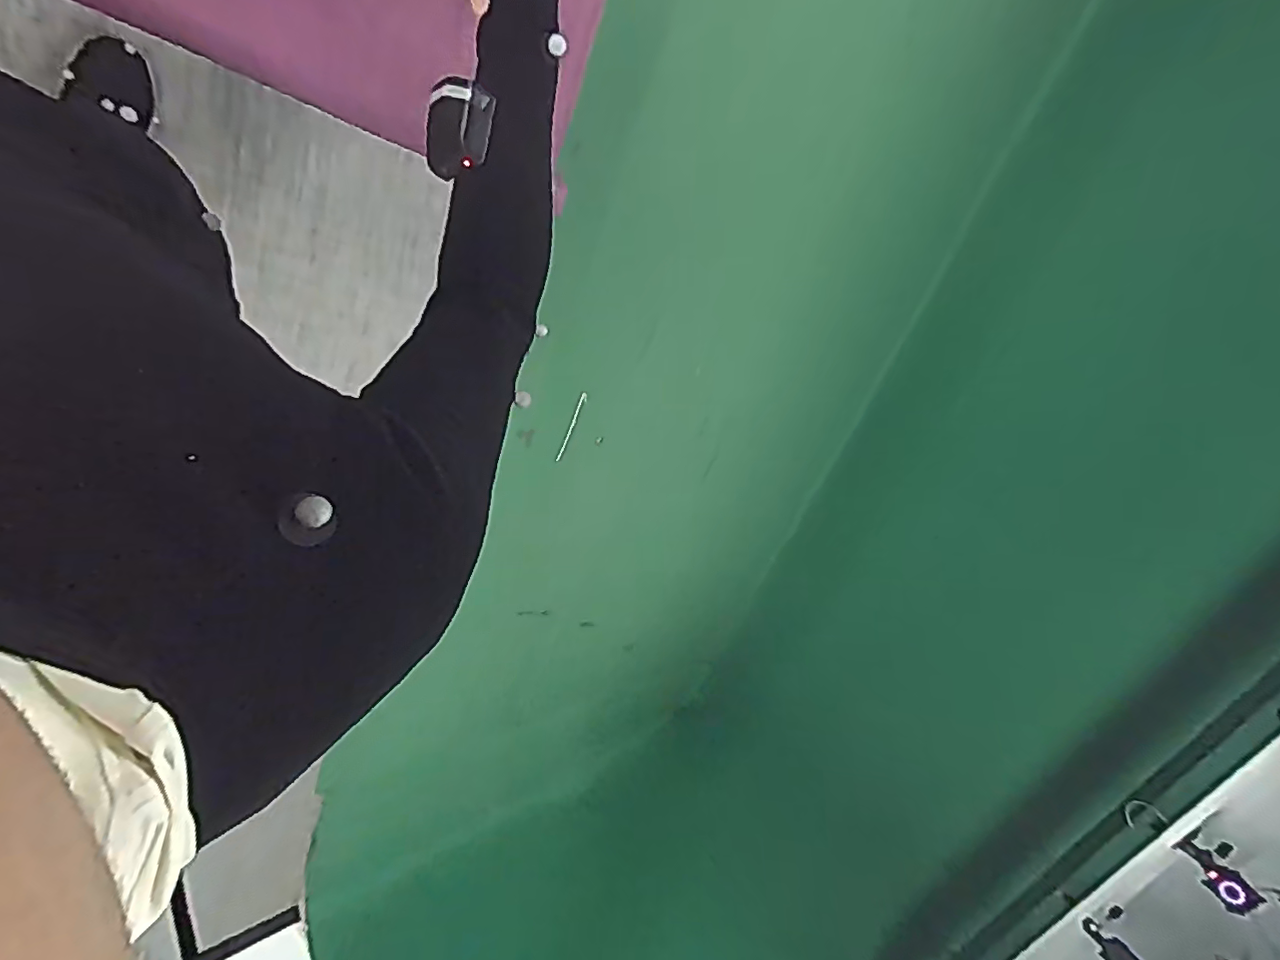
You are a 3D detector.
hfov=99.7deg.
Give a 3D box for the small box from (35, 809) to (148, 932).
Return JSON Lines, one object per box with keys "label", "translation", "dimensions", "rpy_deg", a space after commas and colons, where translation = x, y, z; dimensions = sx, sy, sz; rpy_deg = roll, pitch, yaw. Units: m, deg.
{"label": "small box", "translation": [-1.425, 1.001, 1.407], "dimensions": [0.179, 0.176, 0.168], "rpy_deg": [13, 112, -51]}
